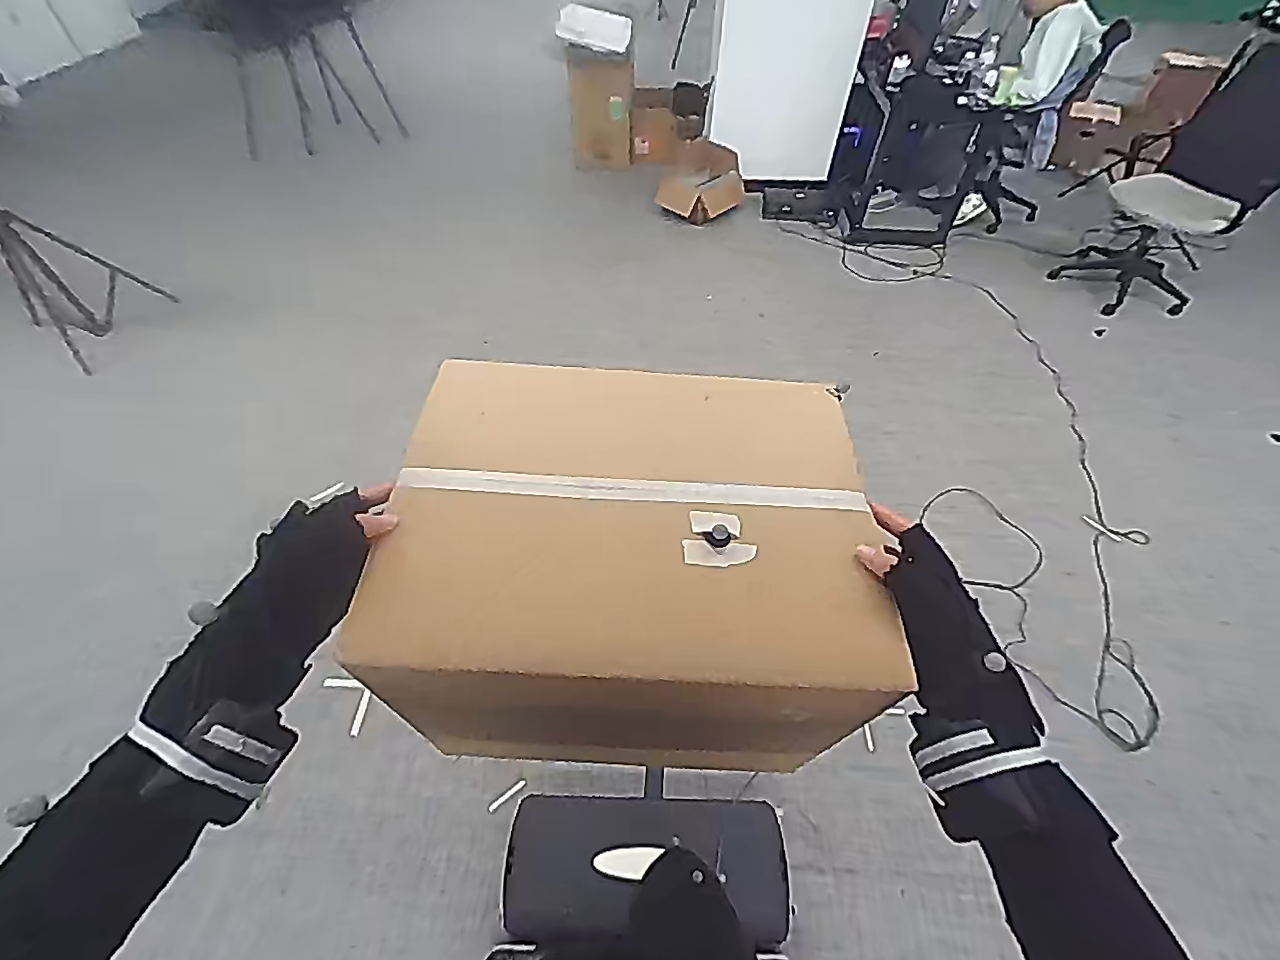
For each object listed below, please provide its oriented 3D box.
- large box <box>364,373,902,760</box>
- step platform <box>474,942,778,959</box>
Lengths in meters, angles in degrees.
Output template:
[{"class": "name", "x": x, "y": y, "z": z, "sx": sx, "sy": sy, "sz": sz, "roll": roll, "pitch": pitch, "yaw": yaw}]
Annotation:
[{"class": "large box", "x": -0.010, "y": 0.108, "z": 0.599, "sx": 0.408, "sy": 0.320, "sz": 0.320, "roll": 4, "pitch": 53, "yaw": -2}, {"class": "step platform", "x": -0.027, "y": 1.131, "z": 1.091, "sx": 0.684, "sy": 0.204, "sz": 0.286, "roll": 0, "pitch": 51, "yaw": 1}]
